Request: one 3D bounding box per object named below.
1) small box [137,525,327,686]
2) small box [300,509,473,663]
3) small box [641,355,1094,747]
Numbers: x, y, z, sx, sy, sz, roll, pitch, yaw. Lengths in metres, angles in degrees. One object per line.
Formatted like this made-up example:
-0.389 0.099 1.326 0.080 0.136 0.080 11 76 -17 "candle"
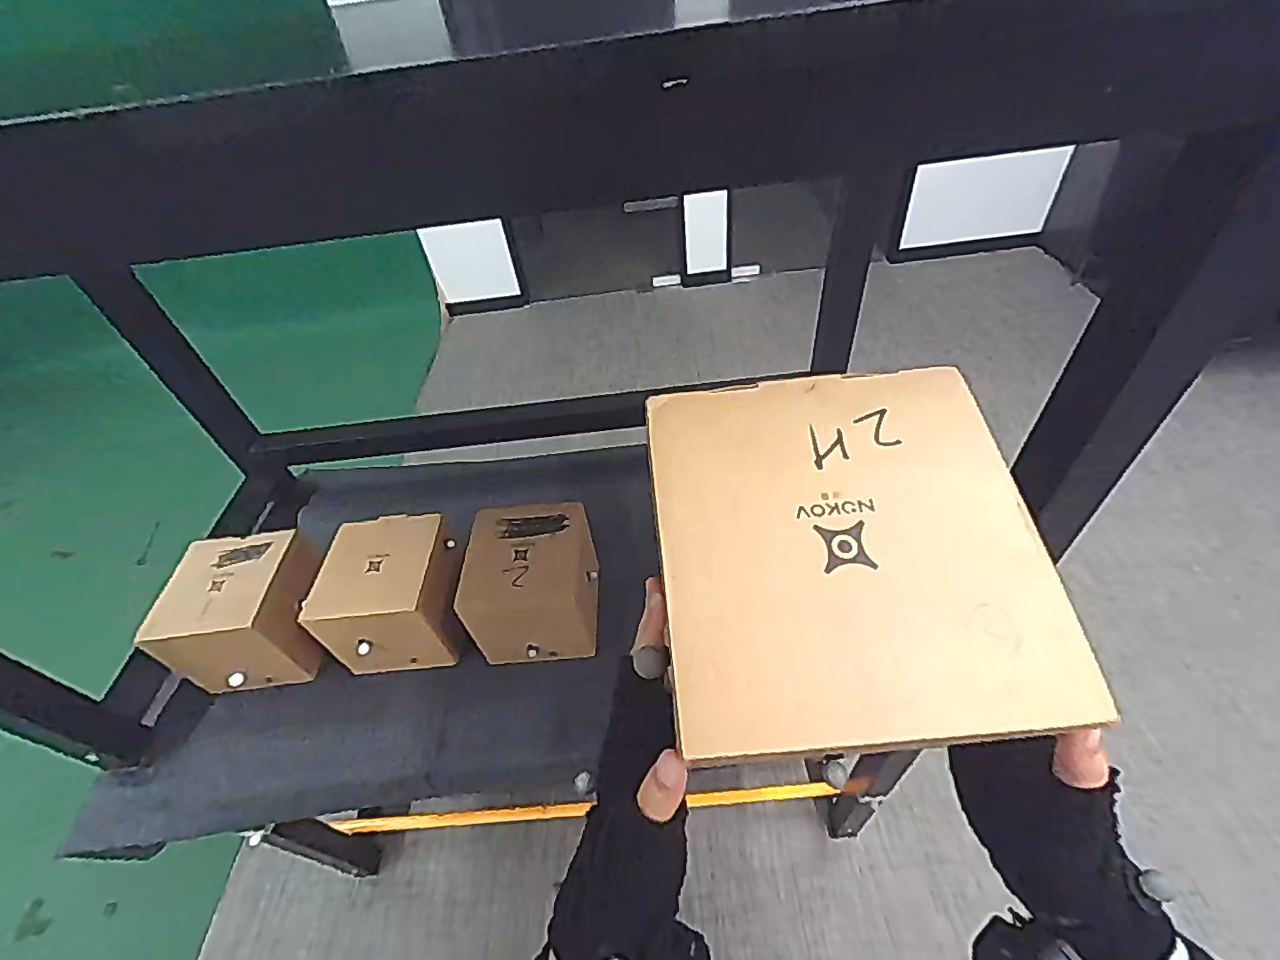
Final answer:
-0.599 0.195 0.844 0.168 0.176 0.179 -8 45 1 "small box"
-0.374 0.171 0.840 0.168 0.176 0.179 -5 44 2 "small box"
0.092 0.055 0.315 0.168 0.176 0.179 -5 61 1 "small box"
